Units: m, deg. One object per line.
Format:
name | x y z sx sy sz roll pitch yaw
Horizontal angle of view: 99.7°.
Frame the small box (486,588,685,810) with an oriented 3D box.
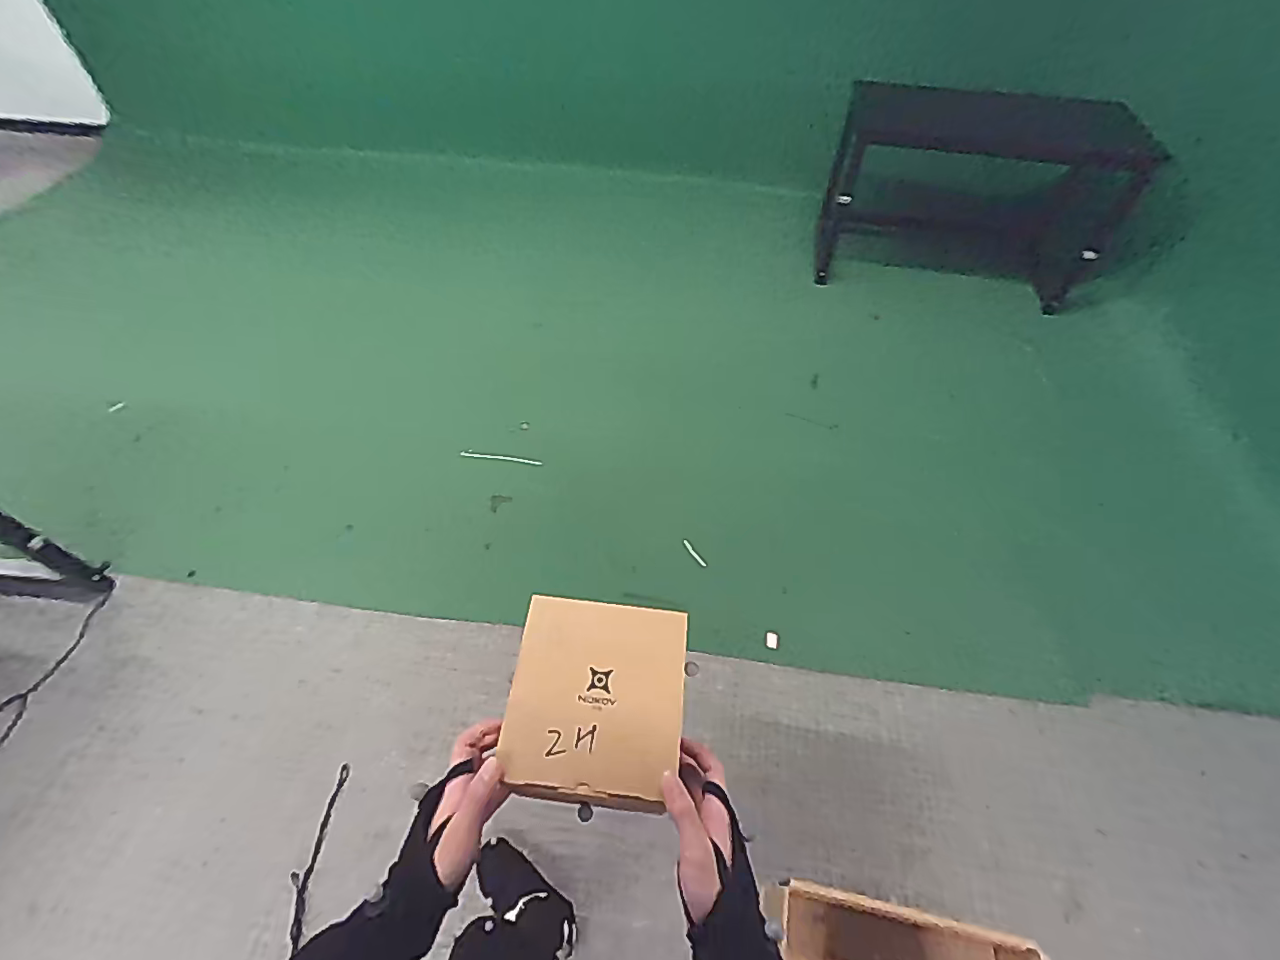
small box | -0.049 0.238 0.580 0.168 0.176 0.179 7 56 2
